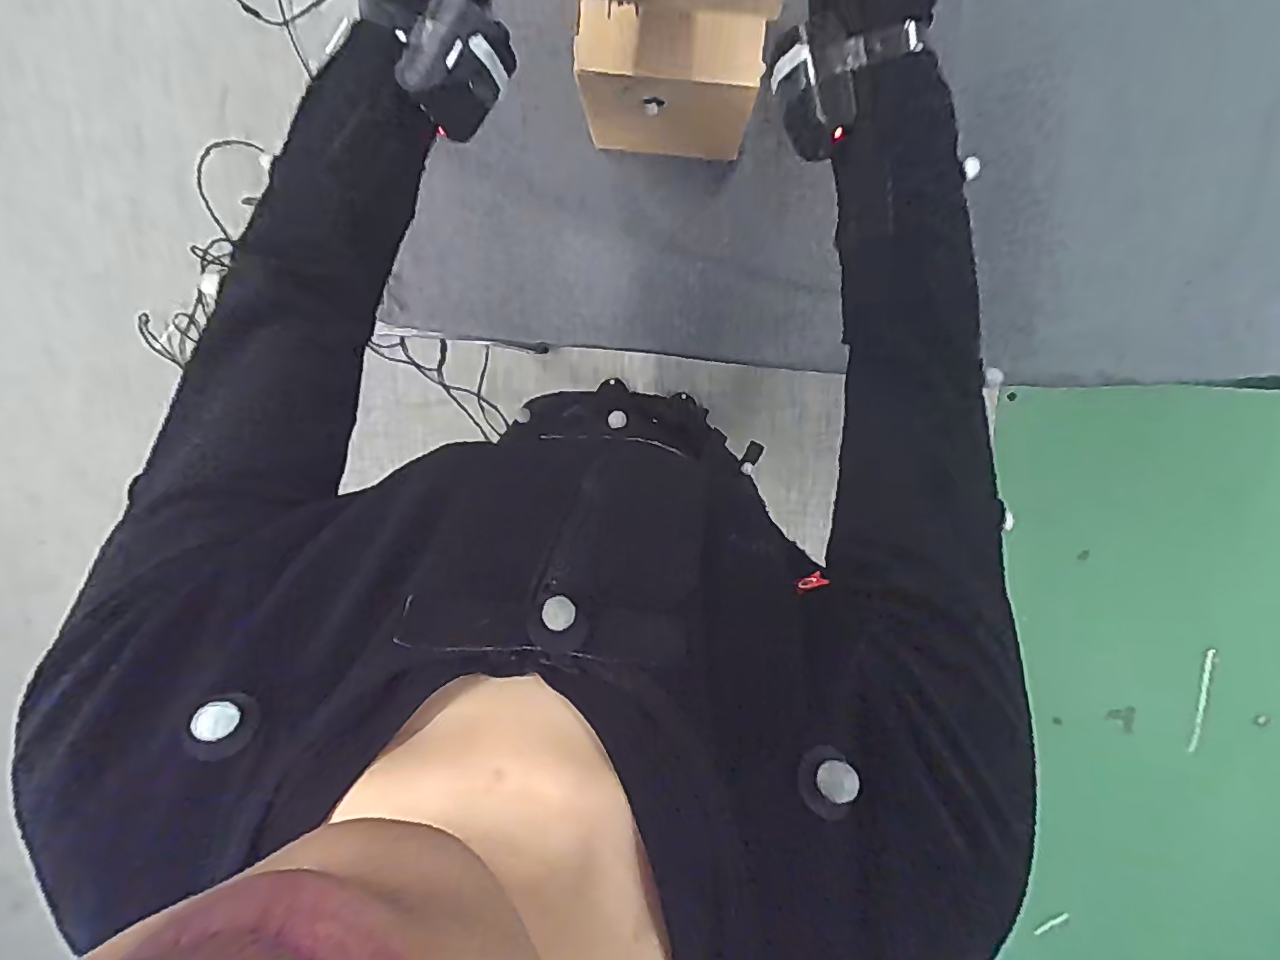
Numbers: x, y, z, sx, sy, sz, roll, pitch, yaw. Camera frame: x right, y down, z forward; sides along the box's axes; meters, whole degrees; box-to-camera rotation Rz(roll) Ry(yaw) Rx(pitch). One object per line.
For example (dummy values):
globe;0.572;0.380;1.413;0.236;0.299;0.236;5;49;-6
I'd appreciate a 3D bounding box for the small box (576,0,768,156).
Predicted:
small box;0.036;-0.473;0.579;0.179;0.176;0.168;6;100;0
